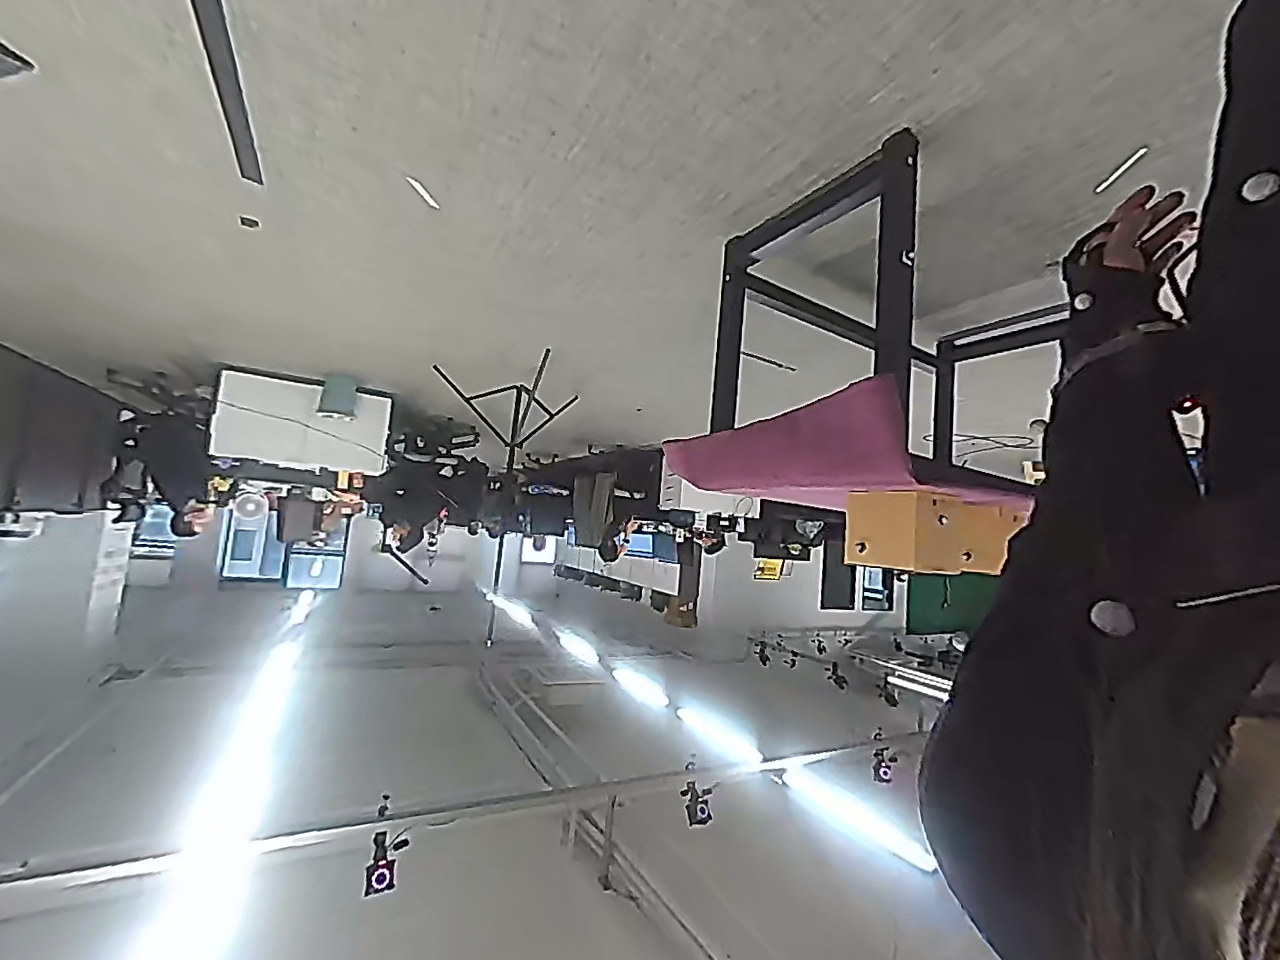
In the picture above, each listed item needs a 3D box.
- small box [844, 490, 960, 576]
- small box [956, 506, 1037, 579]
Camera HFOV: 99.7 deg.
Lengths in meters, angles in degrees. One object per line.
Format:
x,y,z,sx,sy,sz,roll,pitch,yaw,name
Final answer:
0.580,0.115,1.196,0.168,0.176,0.179,6,175,-29,small box
0.897,0.160,1.406,0.168,0.176,0.179,7,173,-25,small box
